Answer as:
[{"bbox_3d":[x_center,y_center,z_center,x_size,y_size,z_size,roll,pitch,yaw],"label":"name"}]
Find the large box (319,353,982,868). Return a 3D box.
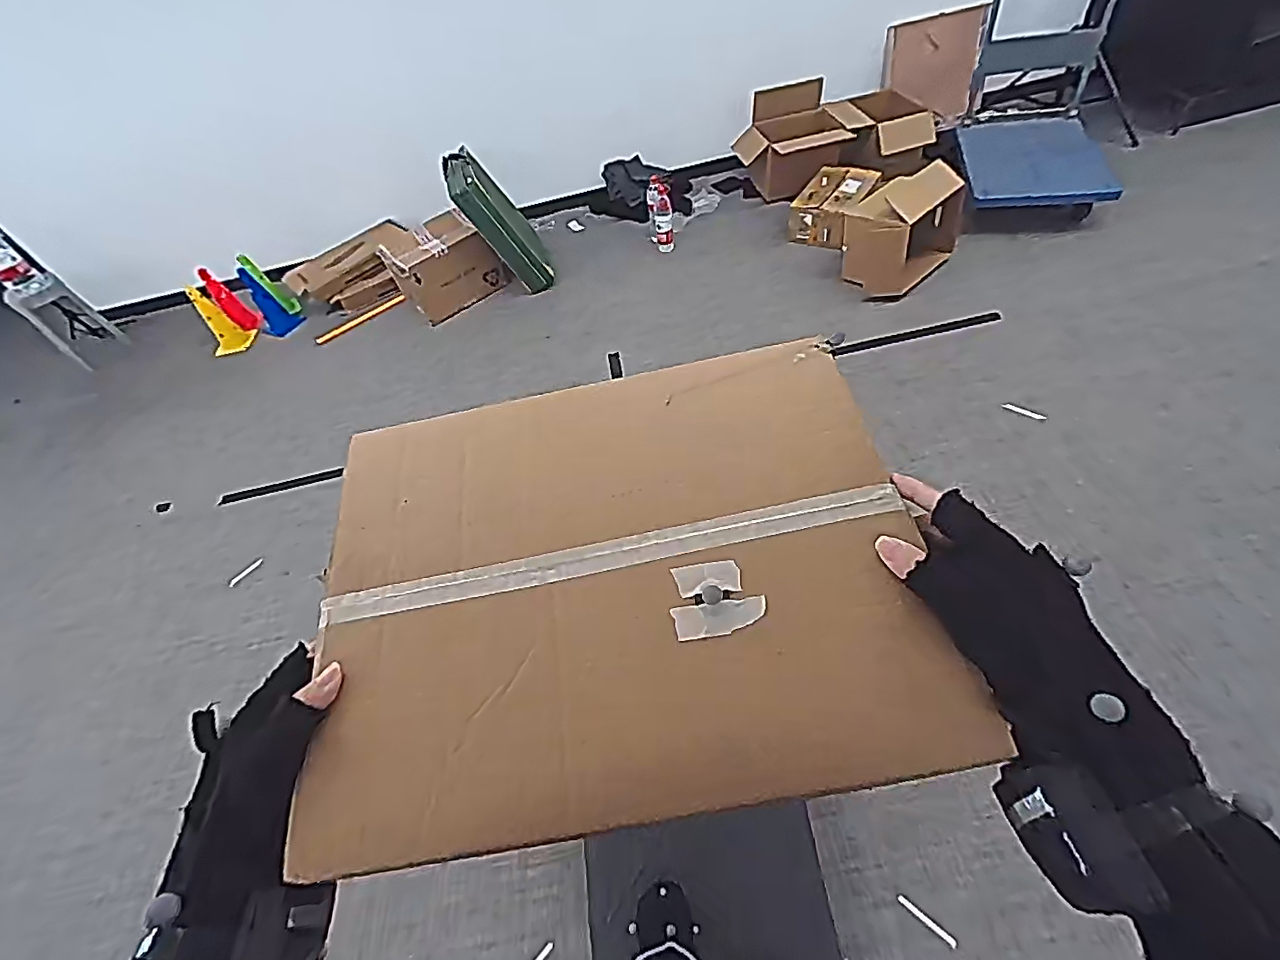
[{"bbox_3d":[-0.002,0.135,0.515,0.408,0.320,0.320,-12,59,2],"label":"large box"}]
